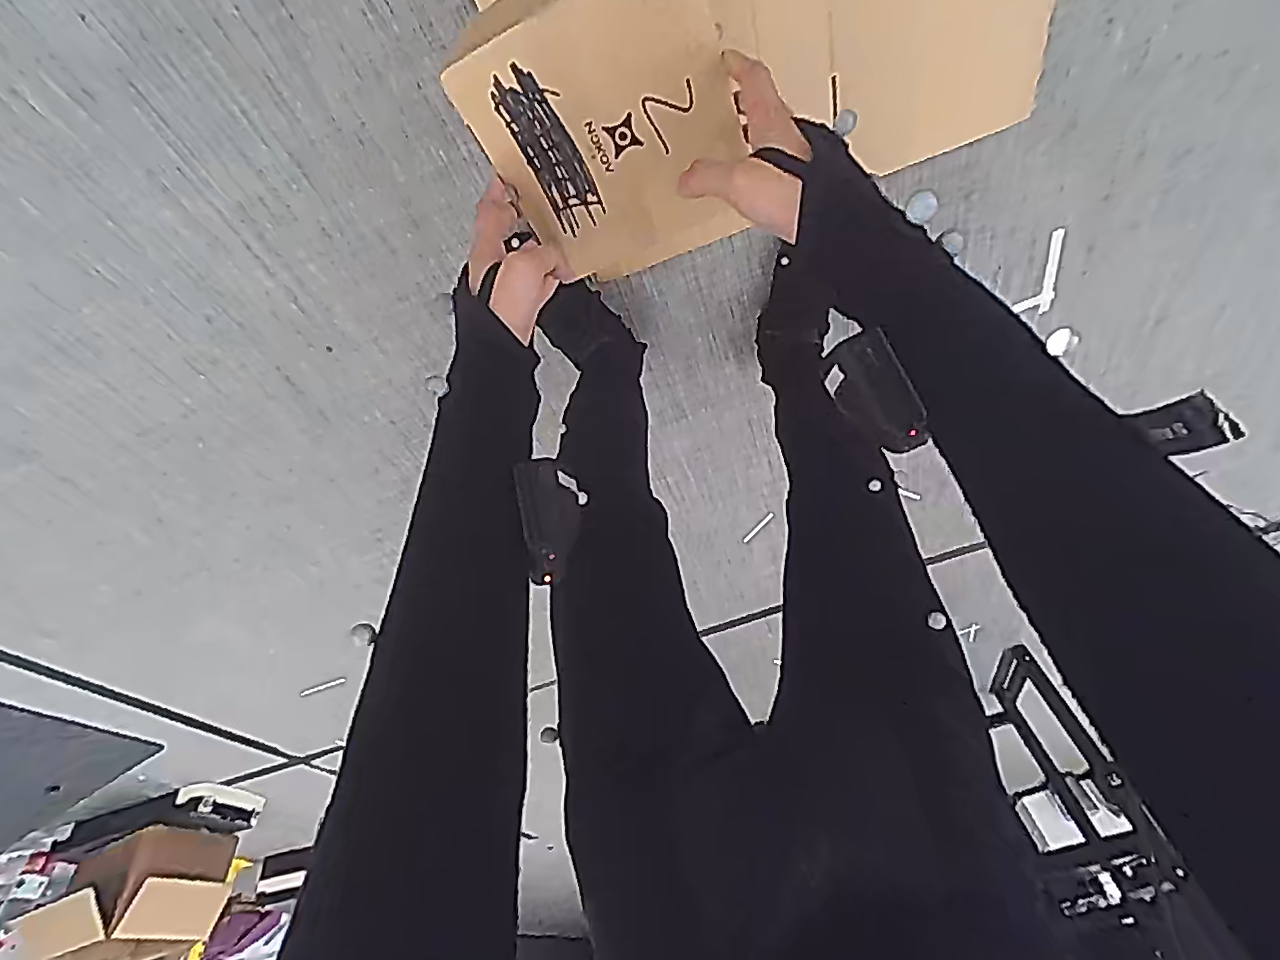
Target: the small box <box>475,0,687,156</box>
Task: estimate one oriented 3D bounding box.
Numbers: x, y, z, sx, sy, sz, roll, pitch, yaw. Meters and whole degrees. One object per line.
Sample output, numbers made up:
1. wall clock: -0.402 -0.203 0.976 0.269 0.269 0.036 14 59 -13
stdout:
1. small box: -0.066 -0.489 0.582 0.179 0.176 0.168 -18 135 7
